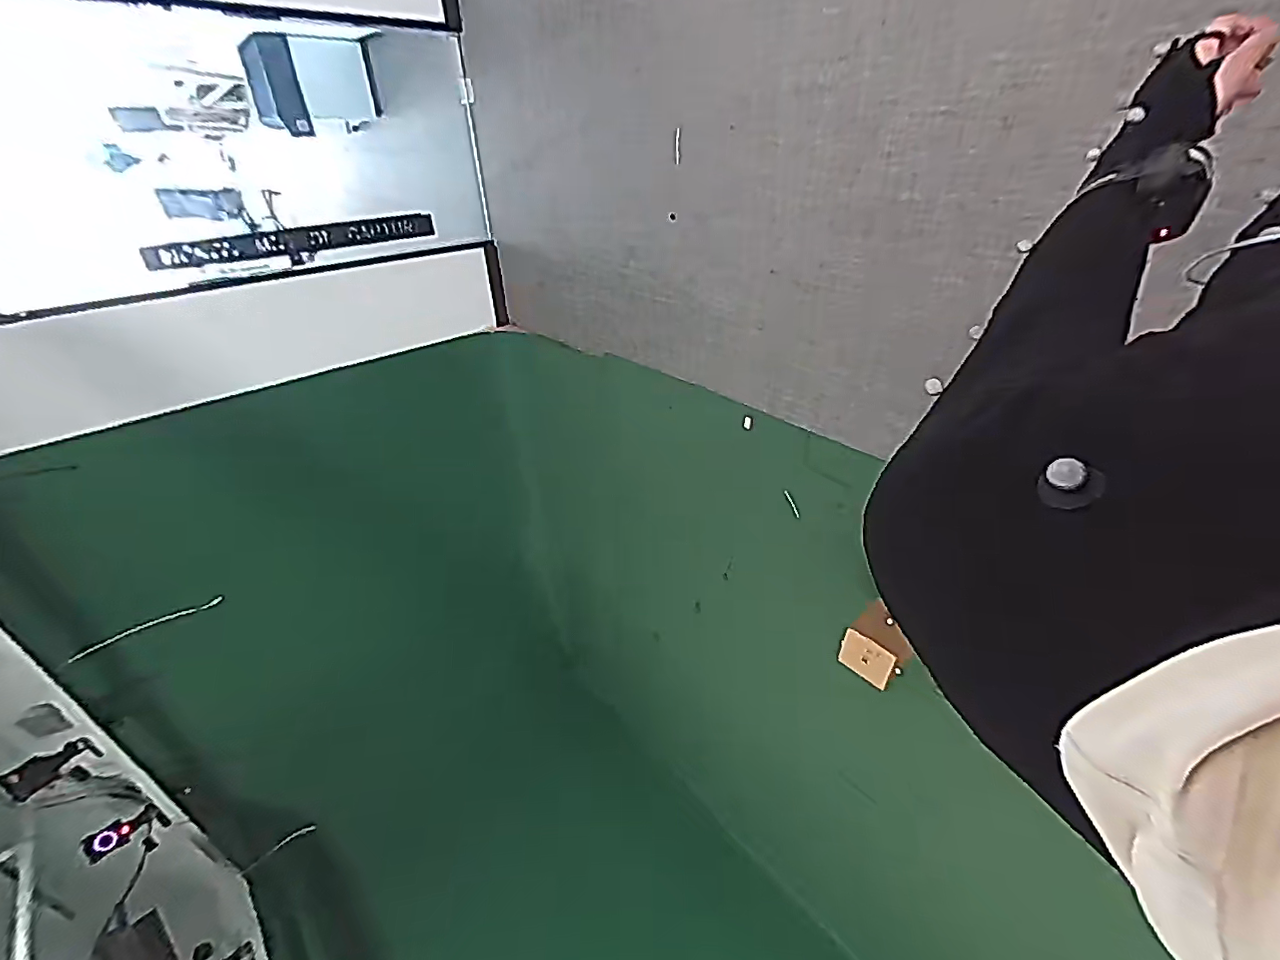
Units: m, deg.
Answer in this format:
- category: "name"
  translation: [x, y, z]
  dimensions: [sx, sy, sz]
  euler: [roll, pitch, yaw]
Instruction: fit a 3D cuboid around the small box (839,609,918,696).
- category: "small box"
  translation: [0.794, 0.568, 1.797]
  dimensions: [0.168, 0.176, 0.179]
  euler: [31, 135, 37]
